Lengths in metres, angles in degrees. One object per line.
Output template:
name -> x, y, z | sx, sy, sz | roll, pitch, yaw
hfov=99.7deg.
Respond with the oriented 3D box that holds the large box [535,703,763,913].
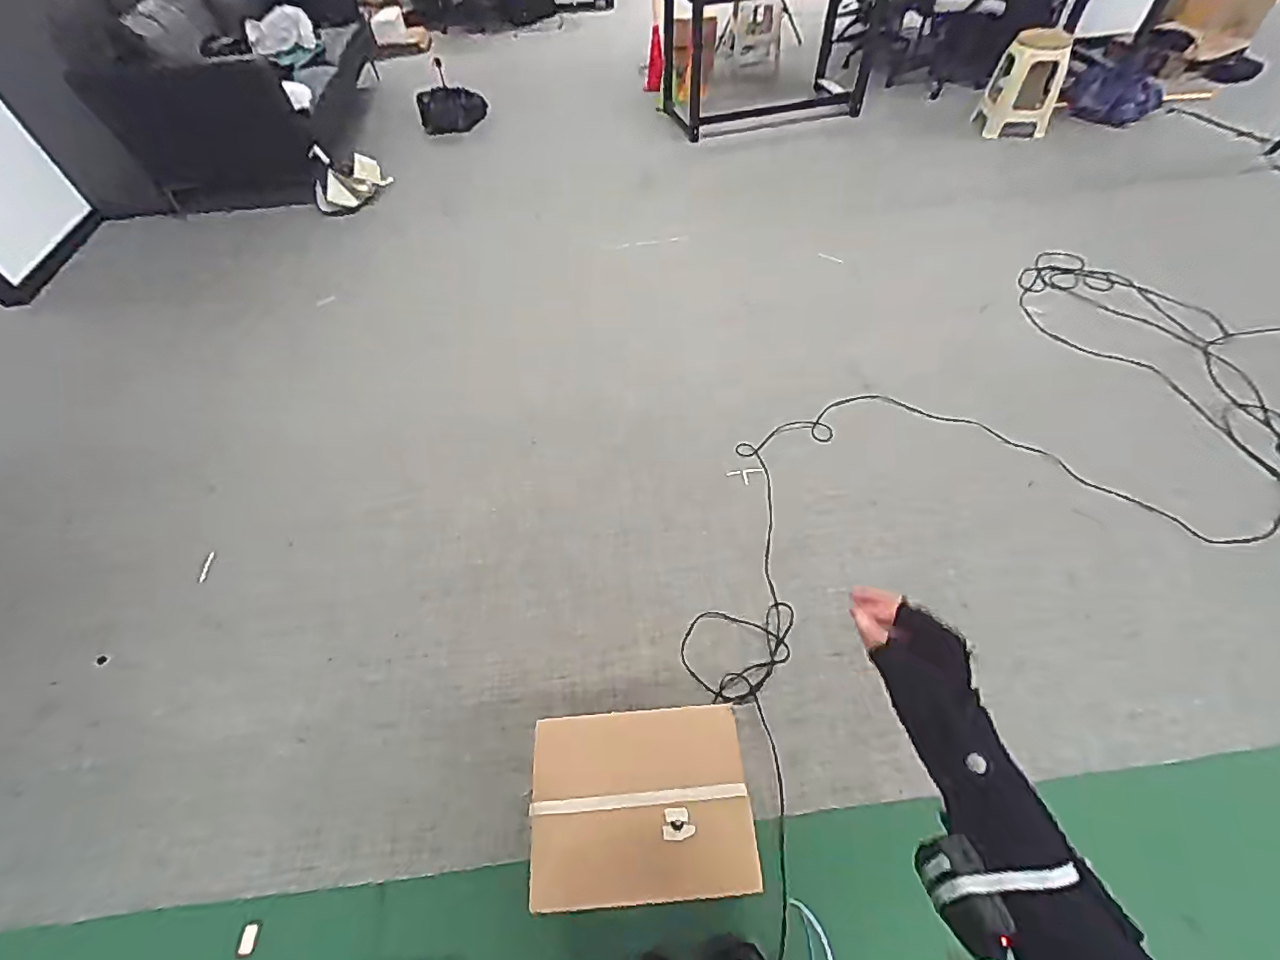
large box -> 0.007, 0.687, 1.134 | 0.408, 0.320, 0.320 | -4, 54, -1
